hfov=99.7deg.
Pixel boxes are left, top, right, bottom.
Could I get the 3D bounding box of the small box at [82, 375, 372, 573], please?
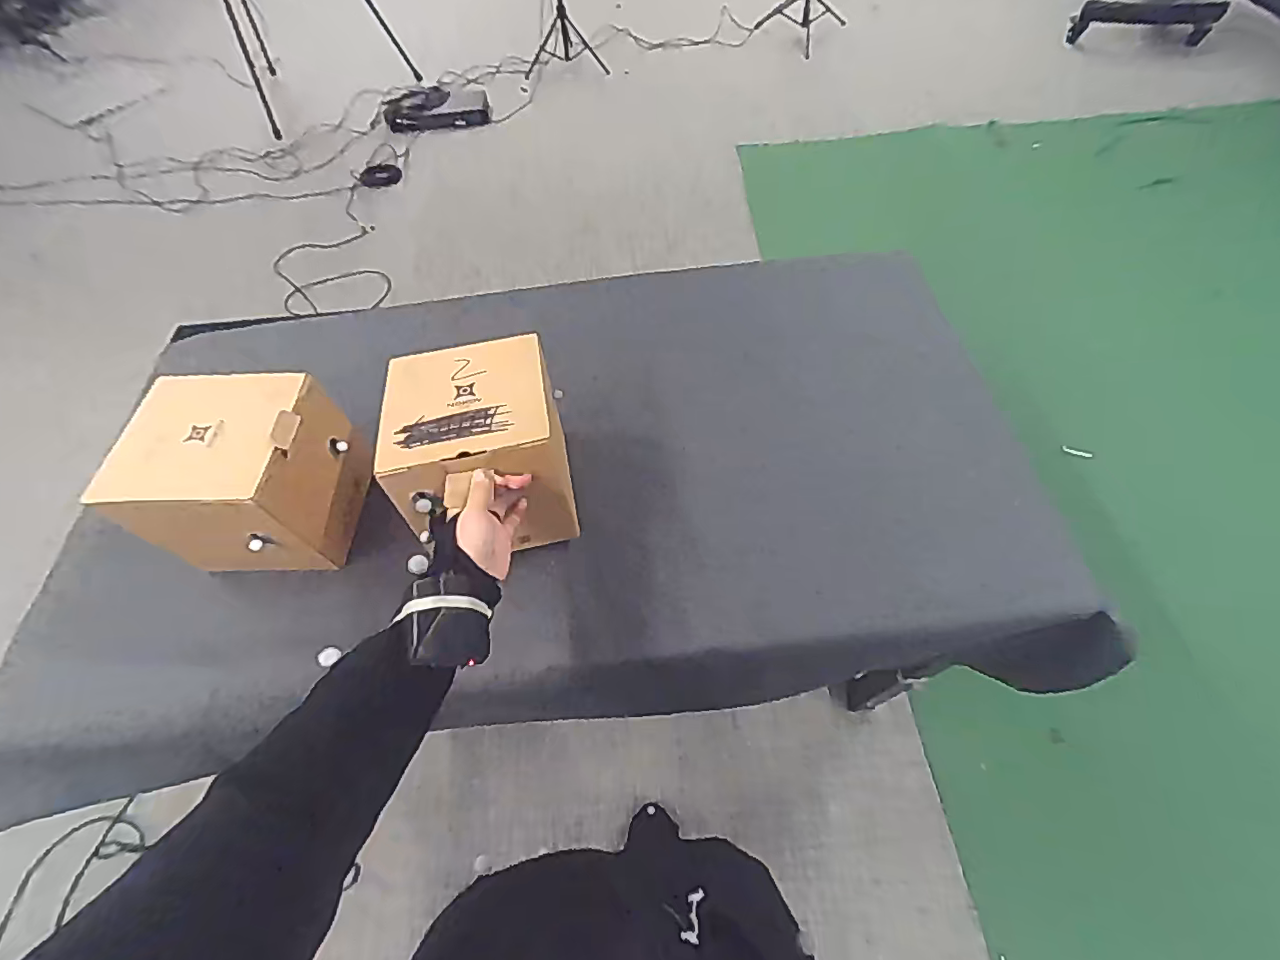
[{"bbox_3d":[-0.441,-0.001,0.619,0.179,0.176,0.168,-2,56,2],"label":"small box"}]
